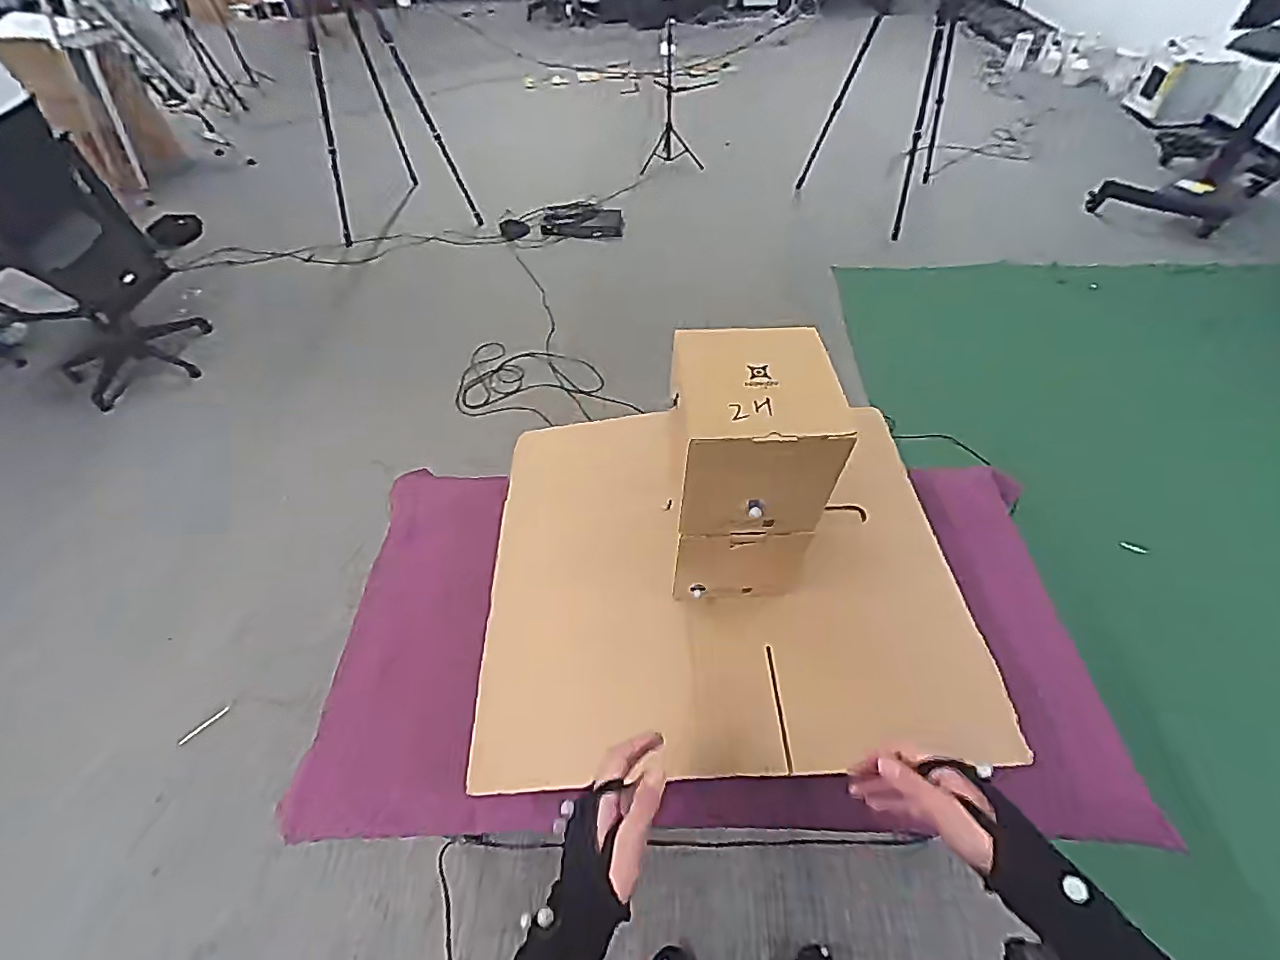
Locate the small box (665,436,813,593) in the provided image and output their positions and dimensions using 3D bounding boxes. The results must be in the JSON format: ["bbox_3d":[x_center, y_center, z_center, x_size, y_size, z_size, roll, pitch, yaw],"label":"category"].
[{"bbox_3d":[0.124,0.048,0.755,0.168,0.176,0.179,-1,51,-2],"label":"small box"}]

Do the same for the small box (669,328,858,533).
[{"bbox_3d":[0.124,-0.056,0.628,0.168,0.176,0.179,-2,52,-2],"label":"small box"}]
